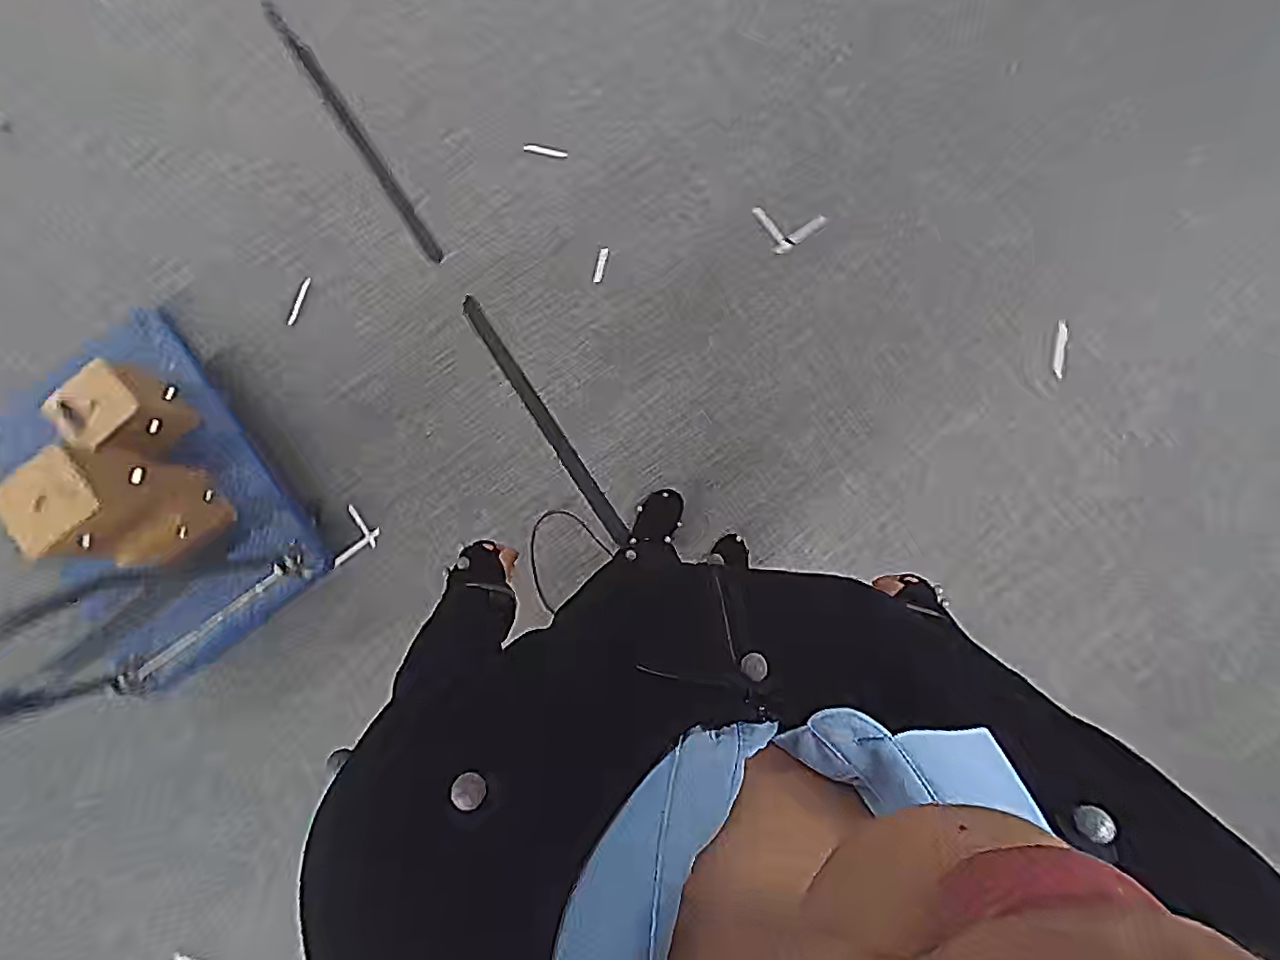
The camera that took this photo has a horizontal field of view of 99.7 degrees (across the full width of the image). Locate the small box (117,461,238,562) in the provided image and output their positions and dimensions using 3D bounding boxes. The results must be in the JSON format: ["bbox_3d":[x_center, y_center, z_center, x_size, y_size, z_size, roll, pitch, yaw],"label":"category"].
[{"bbox_3d":[-1.134,0.079,1.300,0.179,0.176,0.168,-39,85,-2],"label":"small box"}]

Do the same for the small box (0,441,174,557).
[{"bbox_3d":[-1.157,0.044,1.139,0.179,0.176,0.168,-39,85,-2],"label":"small box"}]
